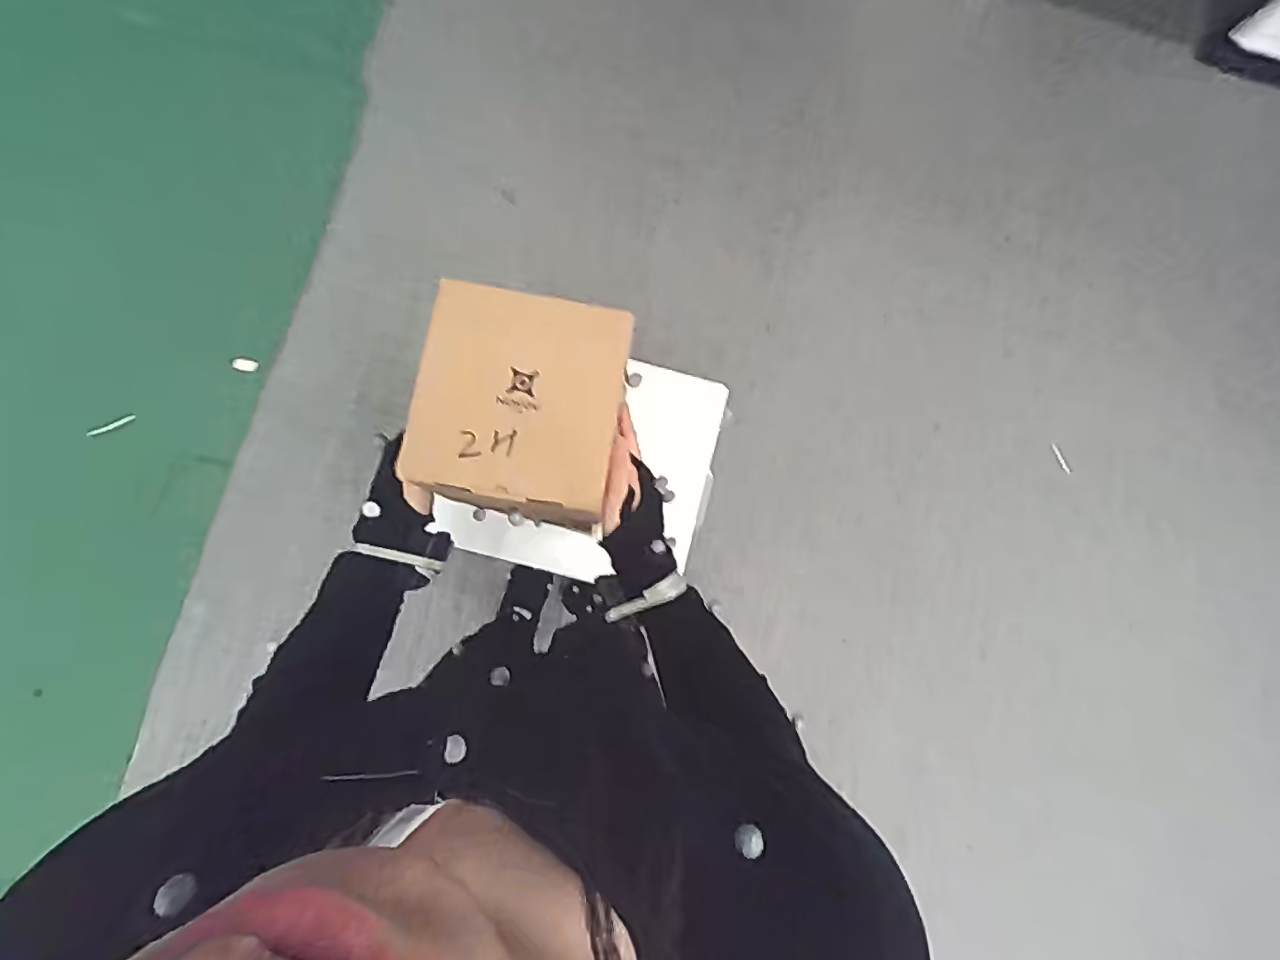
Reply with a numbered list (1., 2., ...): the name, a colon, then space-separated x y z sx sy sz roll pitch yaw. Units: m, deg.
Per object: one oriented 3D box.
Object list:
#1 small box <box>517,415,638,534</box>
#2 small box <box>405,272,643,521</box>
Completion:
1. small box: -0.110 -0.022 0.846 0.168 0.176 0.179 17 83 -2
2. small box: -0.097 -0.064 0.518 0.168 0.176 0.179 9 81 -2
